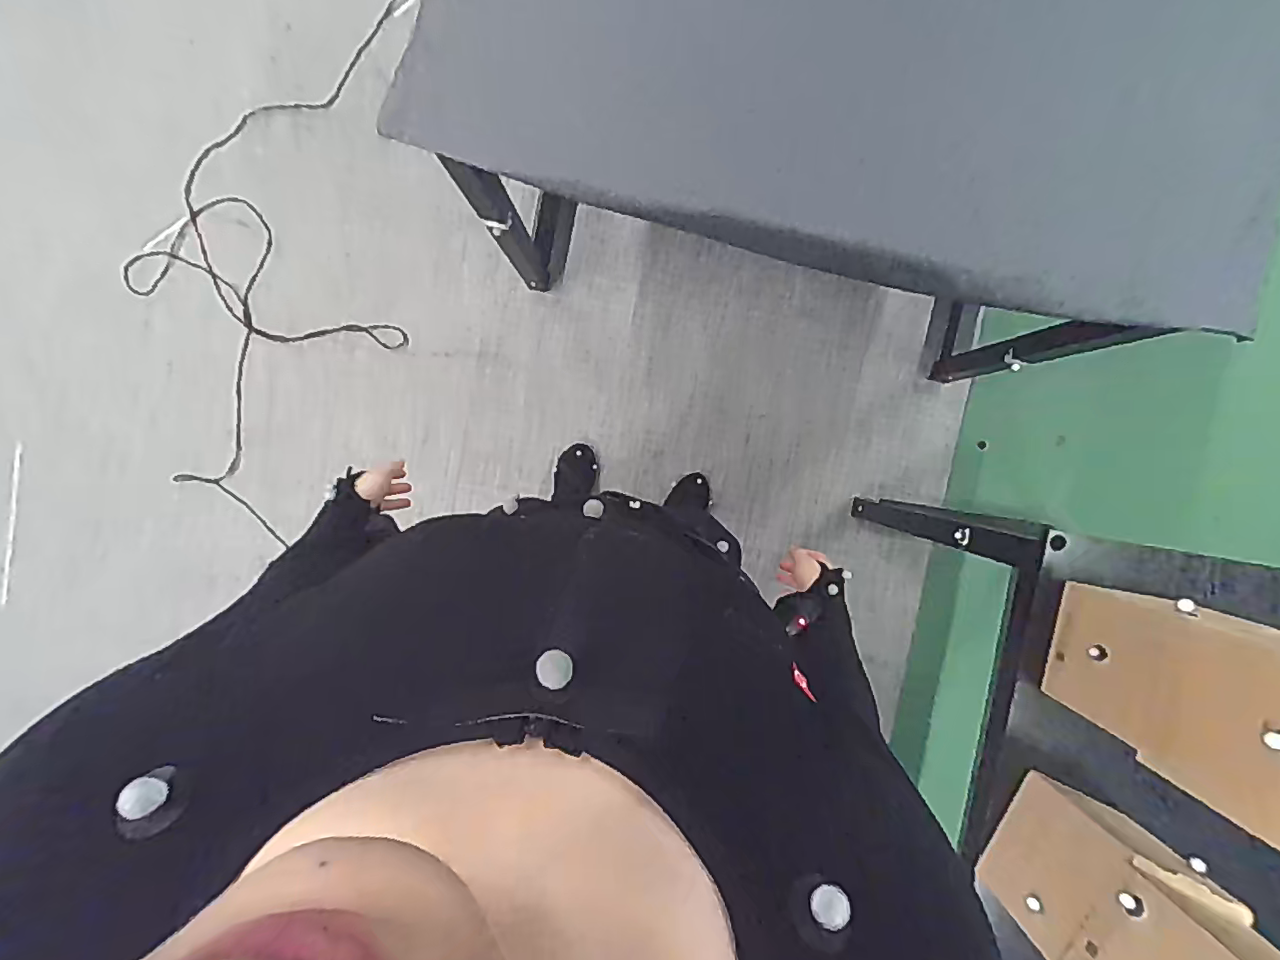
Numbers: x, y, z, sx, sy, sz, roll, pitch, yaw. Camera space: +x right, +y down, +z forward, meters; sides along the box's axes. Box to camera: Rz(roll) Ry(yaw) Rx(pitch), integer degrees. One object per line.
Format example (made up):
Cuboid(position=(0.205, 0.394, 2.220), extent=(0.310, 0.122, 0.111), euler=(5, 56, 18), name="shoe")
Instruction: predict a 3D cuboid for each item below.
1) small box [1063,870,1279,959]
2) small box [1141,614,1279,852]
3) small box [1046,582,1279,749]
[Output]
Cuboid(position=(0.592, 0.551, 0.549), extent=(0.179, 0.176, 0.168), euler=(29, 94, -2), name="small box")
Cuboid(position=(0.656, 0.252, 0.530), extent=(0.168, 0.176, 0.179), euler=(10, 94, 0), name="small box")
Cuboid(position=(0.673, 0.238, 0.691), extent=(0.179, 0.176, 0.168), euler=(10, 95, -1), name="small box")
